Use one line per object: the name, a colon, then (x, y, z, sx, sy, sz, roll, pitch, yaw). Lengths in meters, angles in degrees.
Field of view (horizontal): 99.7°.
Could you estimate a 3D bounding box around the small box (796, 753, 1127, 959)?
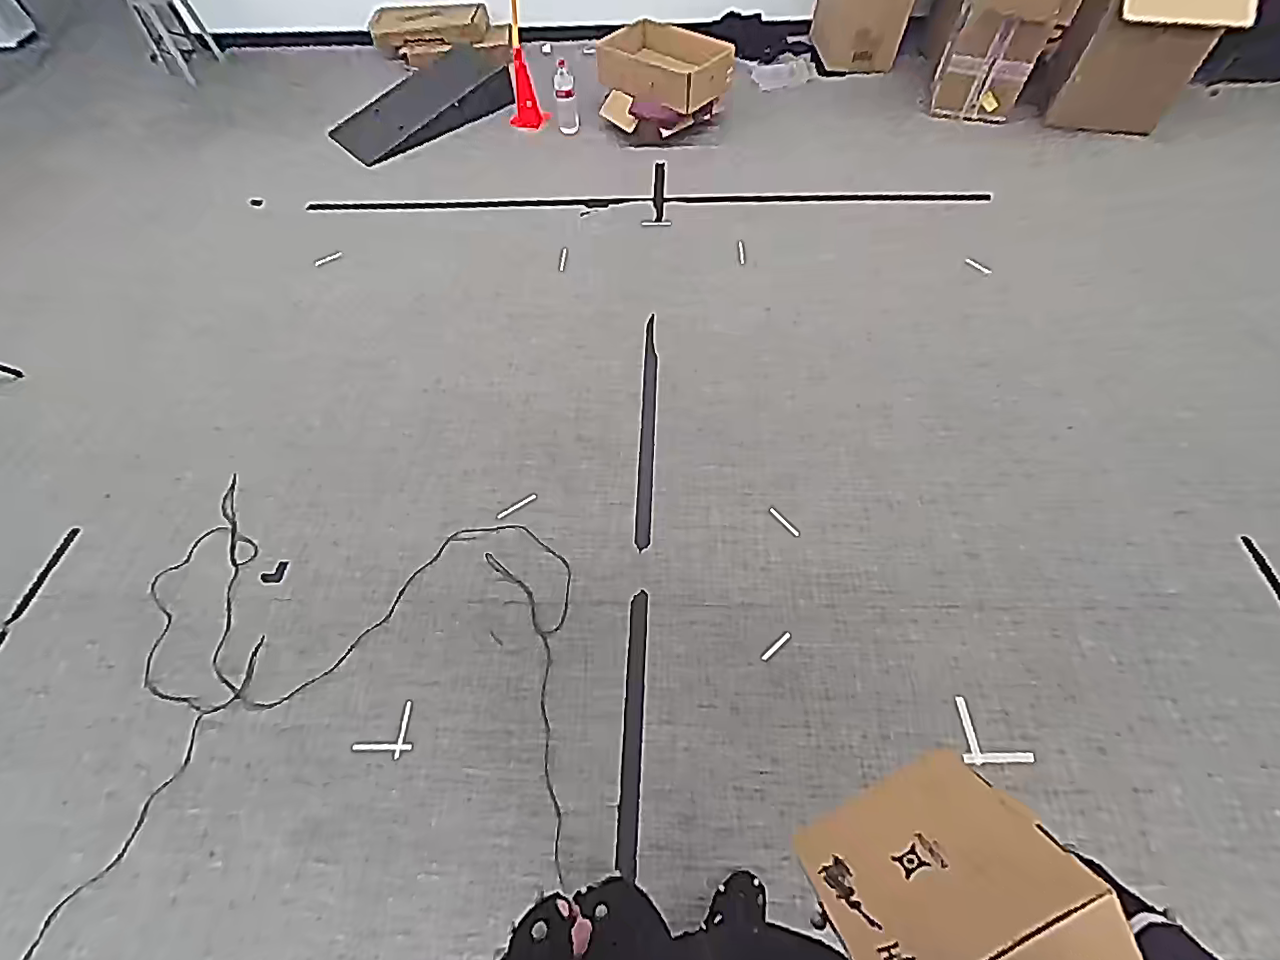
small box: (0.268, 0.383, 0.453, 0.179, 0.168, 0.176, -27, 97, -4)
